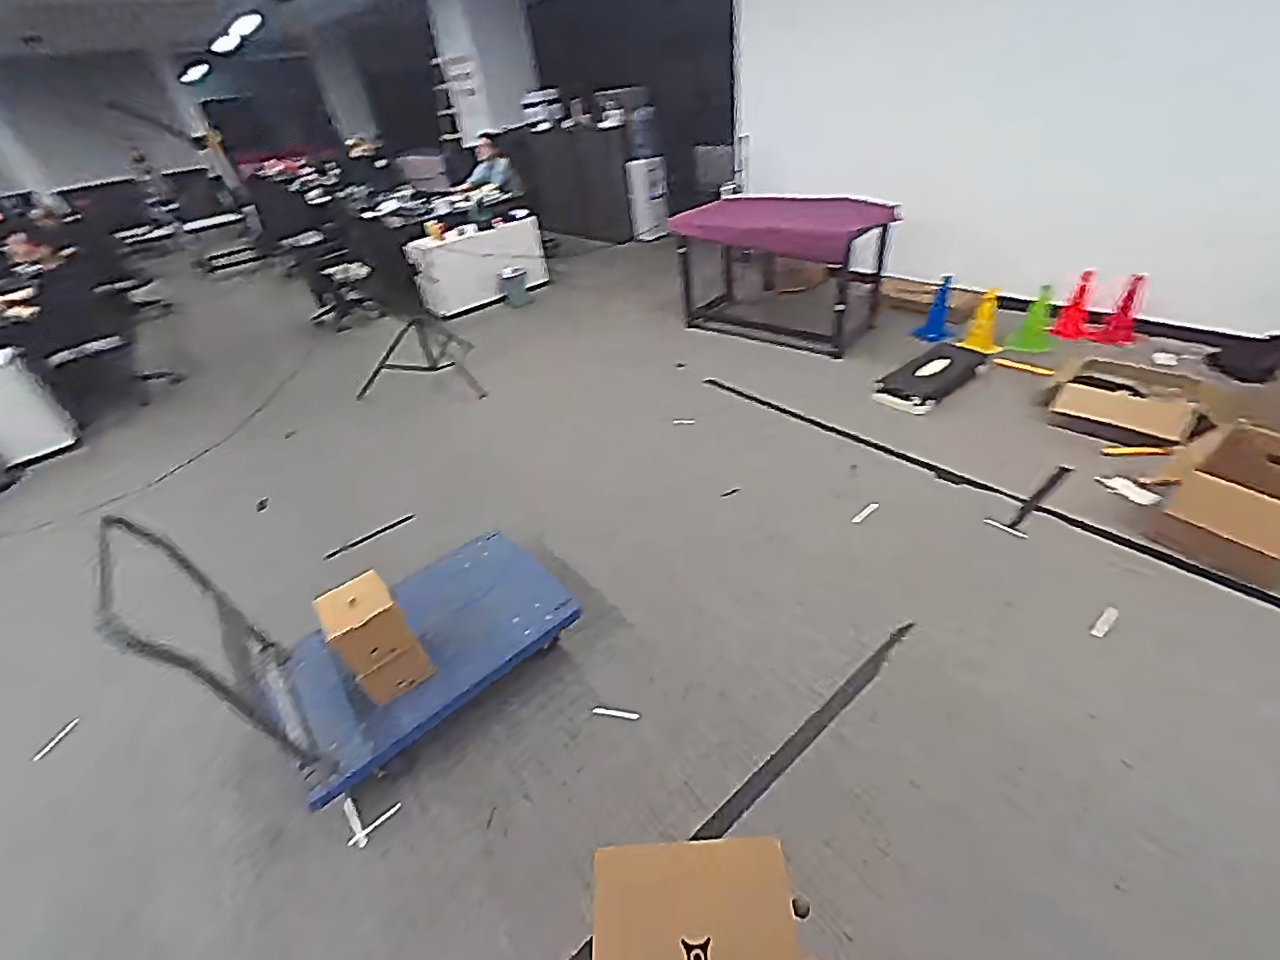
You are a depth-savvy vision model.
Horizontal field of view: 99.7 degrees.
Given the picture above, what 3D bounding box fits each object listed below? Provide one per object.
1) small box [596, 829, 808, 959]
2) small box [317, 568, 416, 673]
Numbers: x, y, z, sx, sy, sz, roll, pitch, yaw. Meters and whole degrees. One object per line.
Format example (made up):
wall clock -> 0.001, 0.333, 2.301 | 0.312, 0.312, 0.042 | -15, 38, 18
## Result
small box -> 0.055, 0.430, 0.466 | 0.168, 0.176, 0.179 | -7, 43, 3
small box -> -0.734, 0.379, 1.458 | 0.168, 0.176, 0.179 | -30, 43, -27
